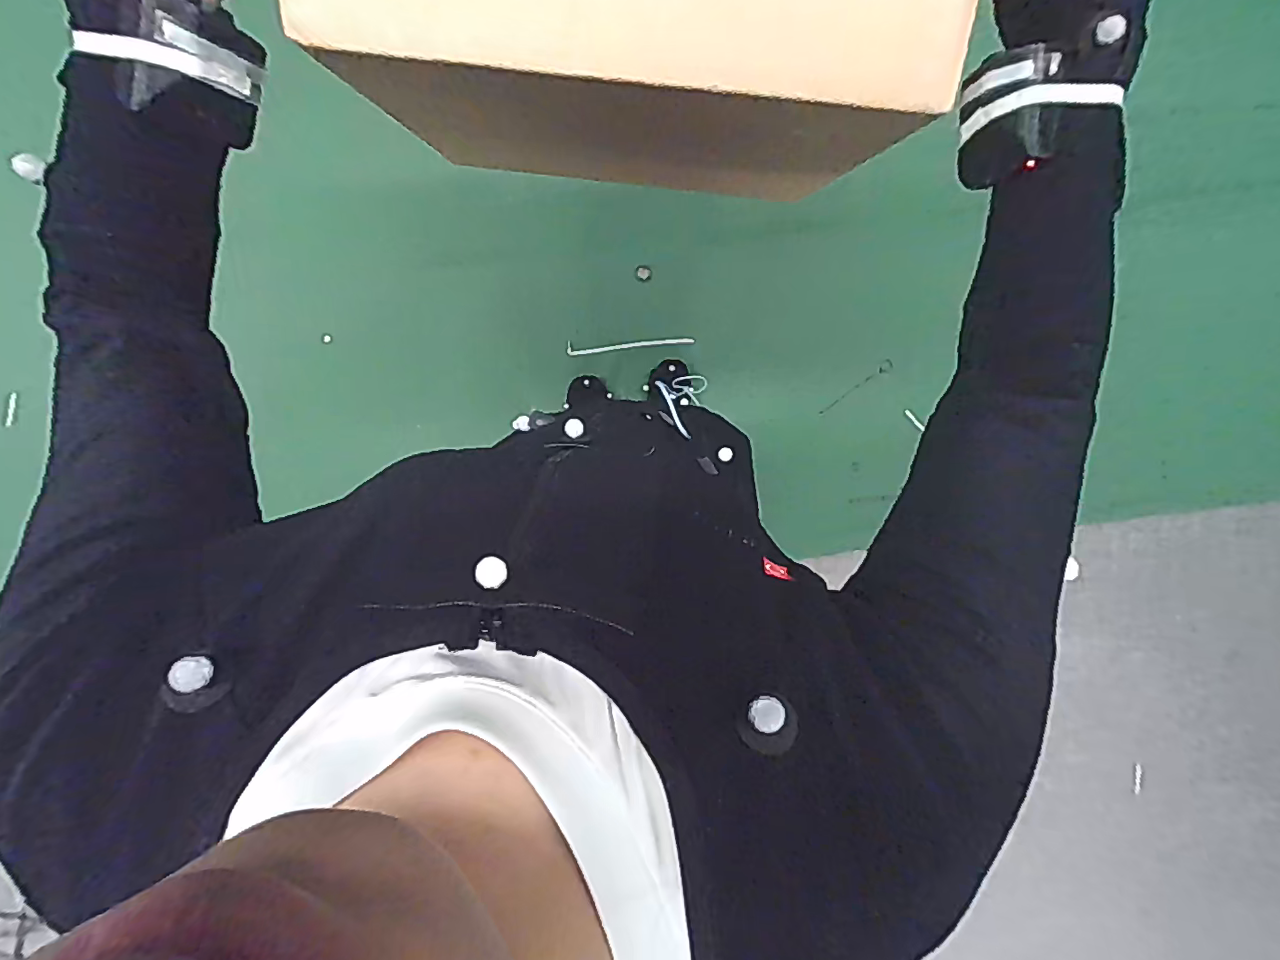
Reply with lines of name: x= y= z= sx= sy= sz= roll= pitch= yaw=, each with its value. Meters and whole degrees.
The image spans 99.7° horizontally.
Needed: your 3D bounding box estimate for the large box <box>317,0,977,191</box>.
large box: x=0.010 y=-0.445 z=0.429 sx=0.408 sy=0.320 sz=0.320 roll=4 pitch=109 yaw=-4
